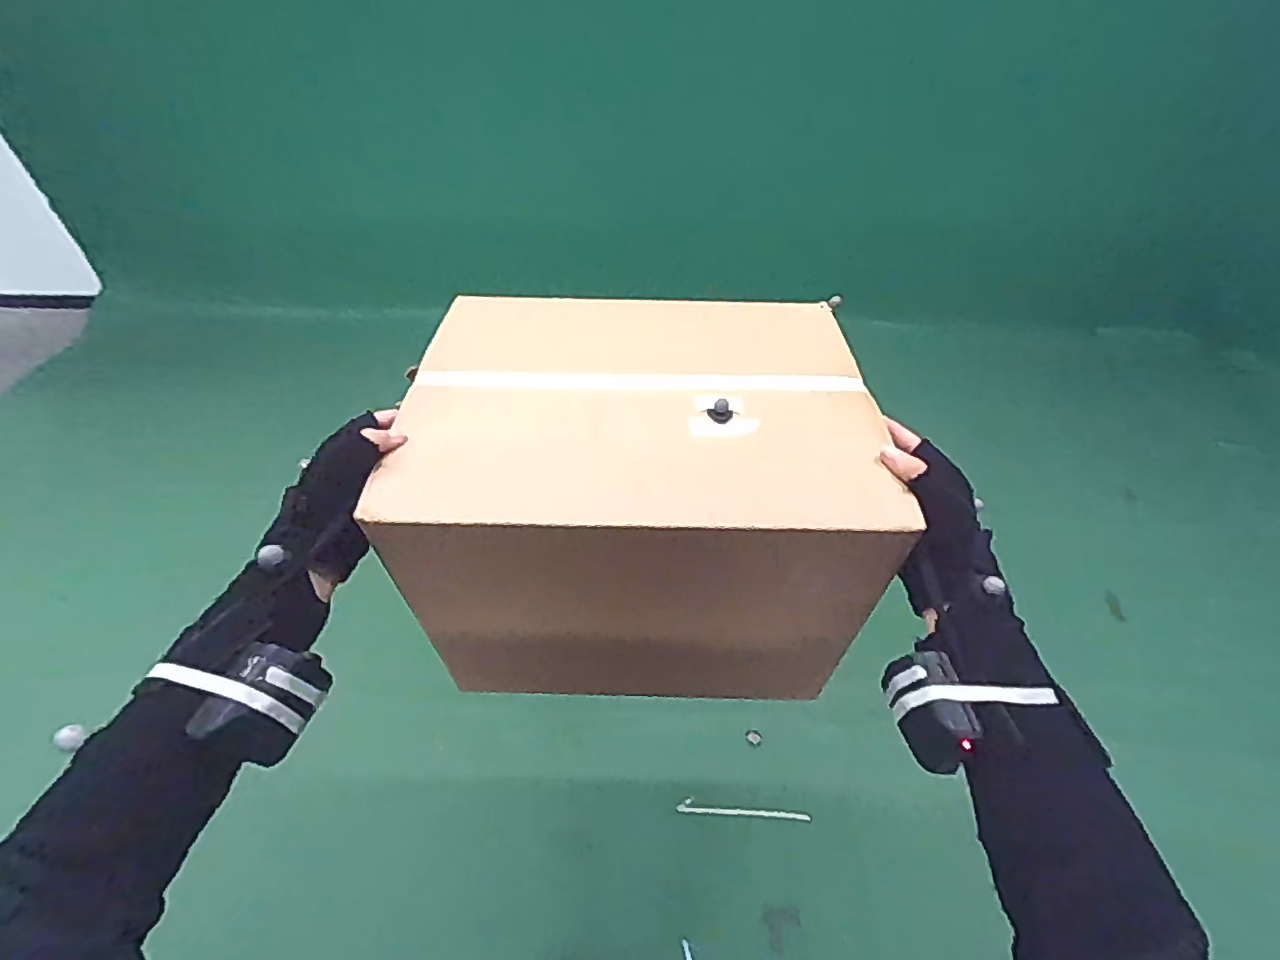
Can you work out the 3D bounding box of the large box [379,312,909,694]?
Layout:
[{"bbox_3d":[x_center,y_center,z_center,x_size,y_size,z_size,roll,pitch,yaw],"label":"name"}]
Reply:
[{"bbox_3d":[-0.002,0.029,0.607,0.408,0.320,0.320,1,47,-1],"label":"large box"}]
